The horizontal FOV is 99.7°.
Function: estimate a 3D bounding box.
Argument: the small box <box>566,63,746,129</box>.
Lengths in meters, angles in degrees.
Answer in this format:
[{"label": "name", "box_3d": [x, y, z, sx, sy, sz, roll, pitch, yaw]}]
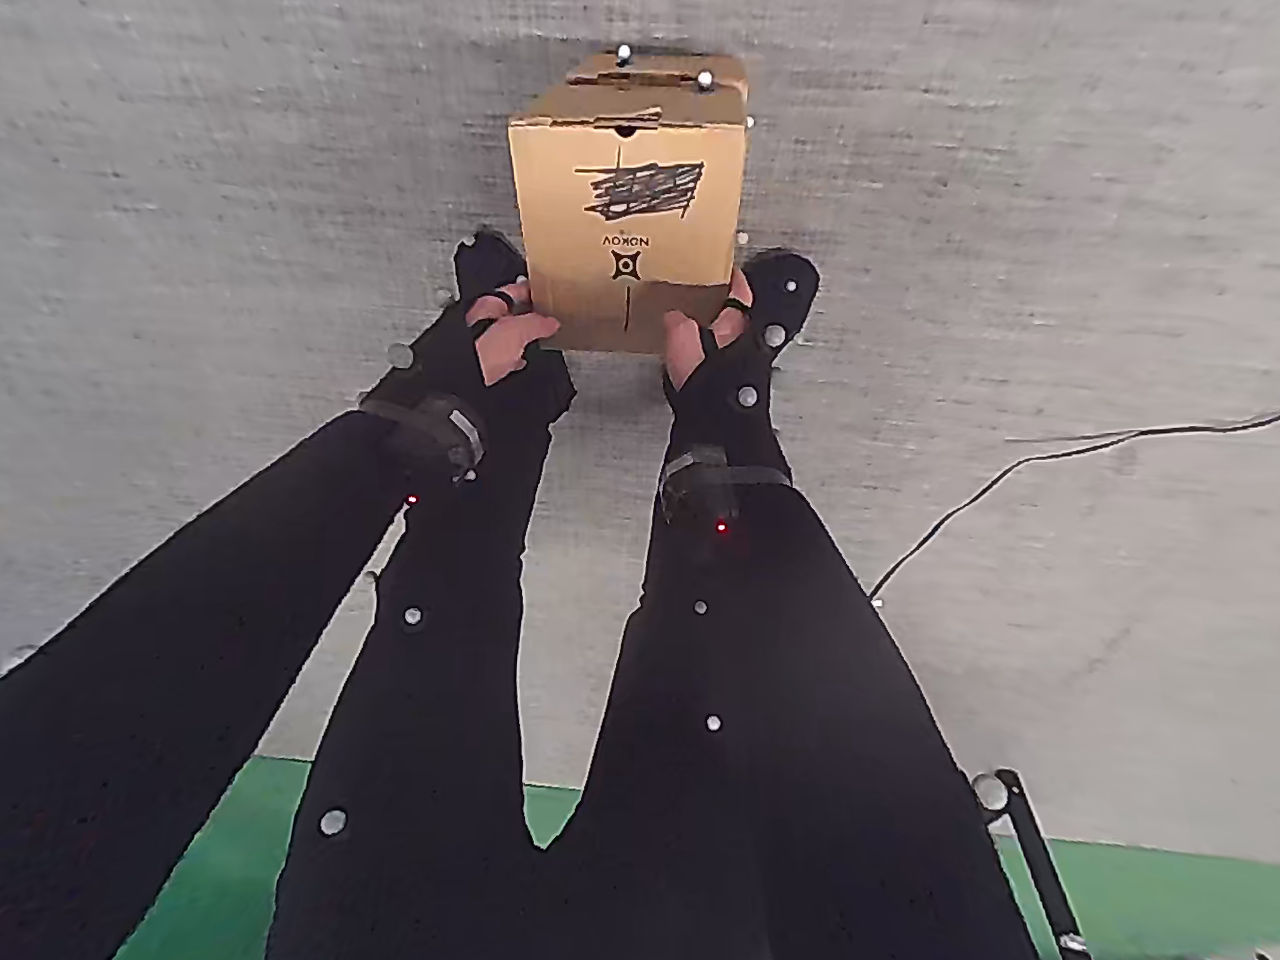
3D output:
[{"label": "small box", "box_3d": [0.019, -0.342, 0.596, 0.168, 0.176, 0.179, 5, 135, 4]}]

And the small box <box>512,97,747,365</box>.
[{"label": "small box", "box_3d": [-0.003, -0.225, 0.482, 0.168, 0.176, 0.179, 5, 133, 4]}]
